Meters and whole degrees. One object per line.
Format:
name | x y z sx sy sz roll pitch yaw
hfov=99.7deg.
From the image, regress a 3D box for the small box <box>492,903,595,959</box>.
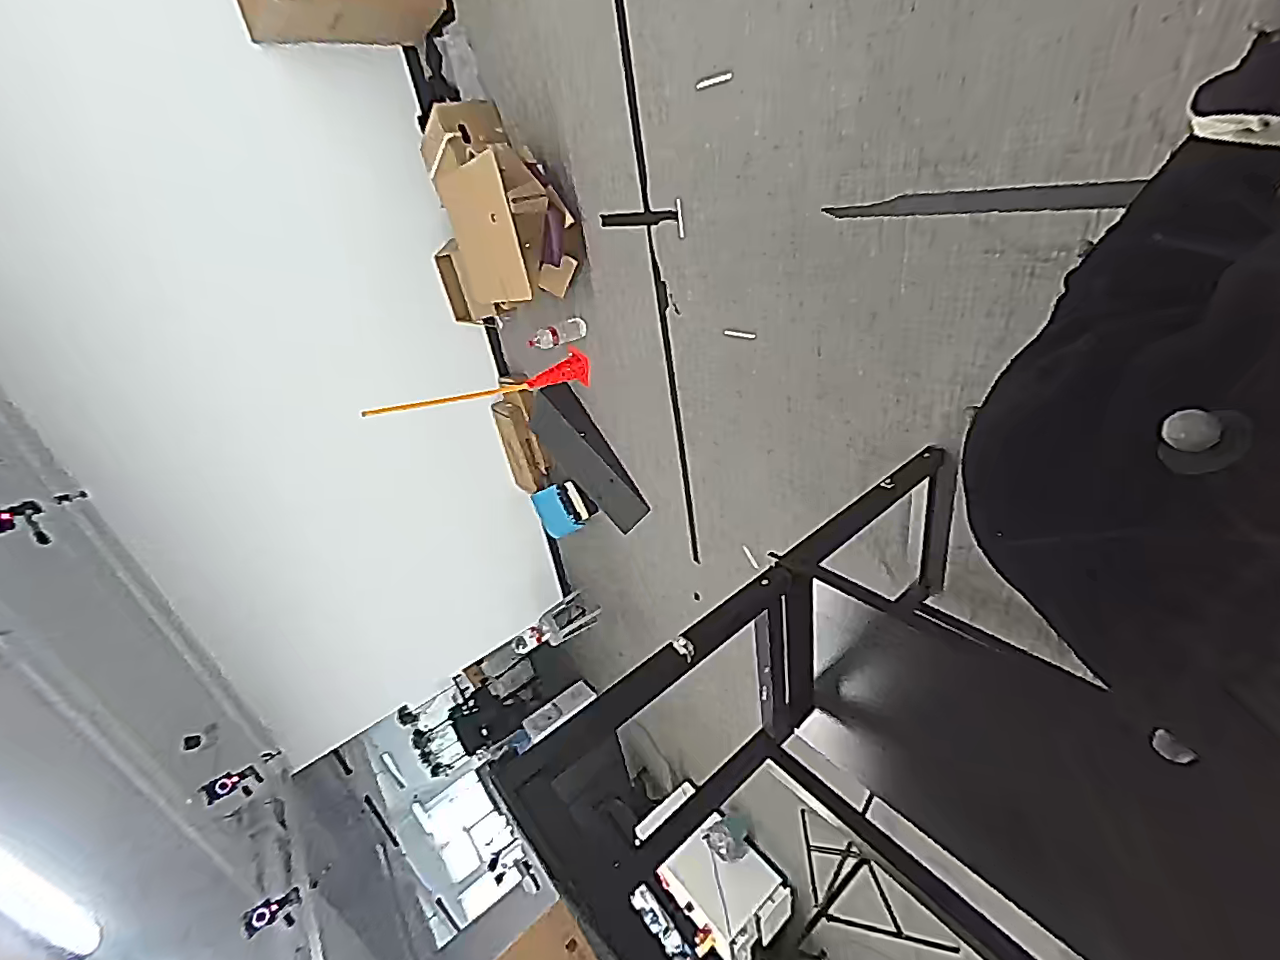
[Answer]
small box | -0.118 0.729 0.719 0.168 0.176 0.179 27 137 45
